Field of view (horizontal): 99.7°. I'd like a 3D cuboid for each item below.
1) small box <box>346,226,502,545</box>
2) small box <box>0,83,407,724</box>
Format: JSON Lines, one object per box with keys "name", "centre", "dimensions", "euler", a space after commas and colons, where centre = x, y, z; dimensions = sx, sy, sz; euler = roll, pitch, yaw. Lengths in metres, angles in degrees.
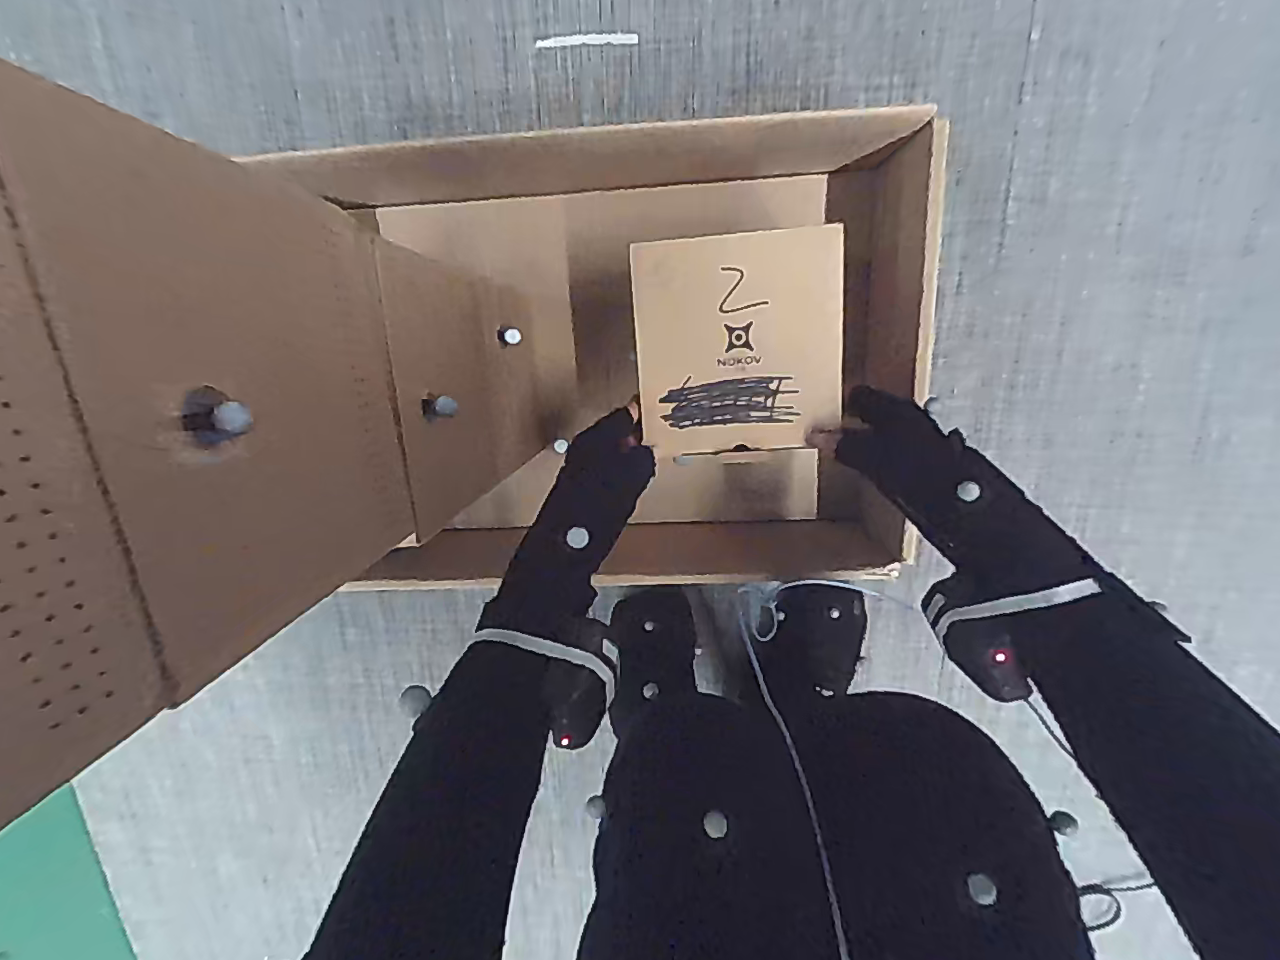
{"name": "small box", "centre": [-0.206, -0.063, 0.378], "dimensions": [0.168, 0.176, 0.179], "euler": [-2, 104, 3]}
{"name": "small box", "centre": [-0.218, -0.028, 0.220], "dimensions": [0.168, 0.176, 0.179], "euler": [-4, 104, 3]}
